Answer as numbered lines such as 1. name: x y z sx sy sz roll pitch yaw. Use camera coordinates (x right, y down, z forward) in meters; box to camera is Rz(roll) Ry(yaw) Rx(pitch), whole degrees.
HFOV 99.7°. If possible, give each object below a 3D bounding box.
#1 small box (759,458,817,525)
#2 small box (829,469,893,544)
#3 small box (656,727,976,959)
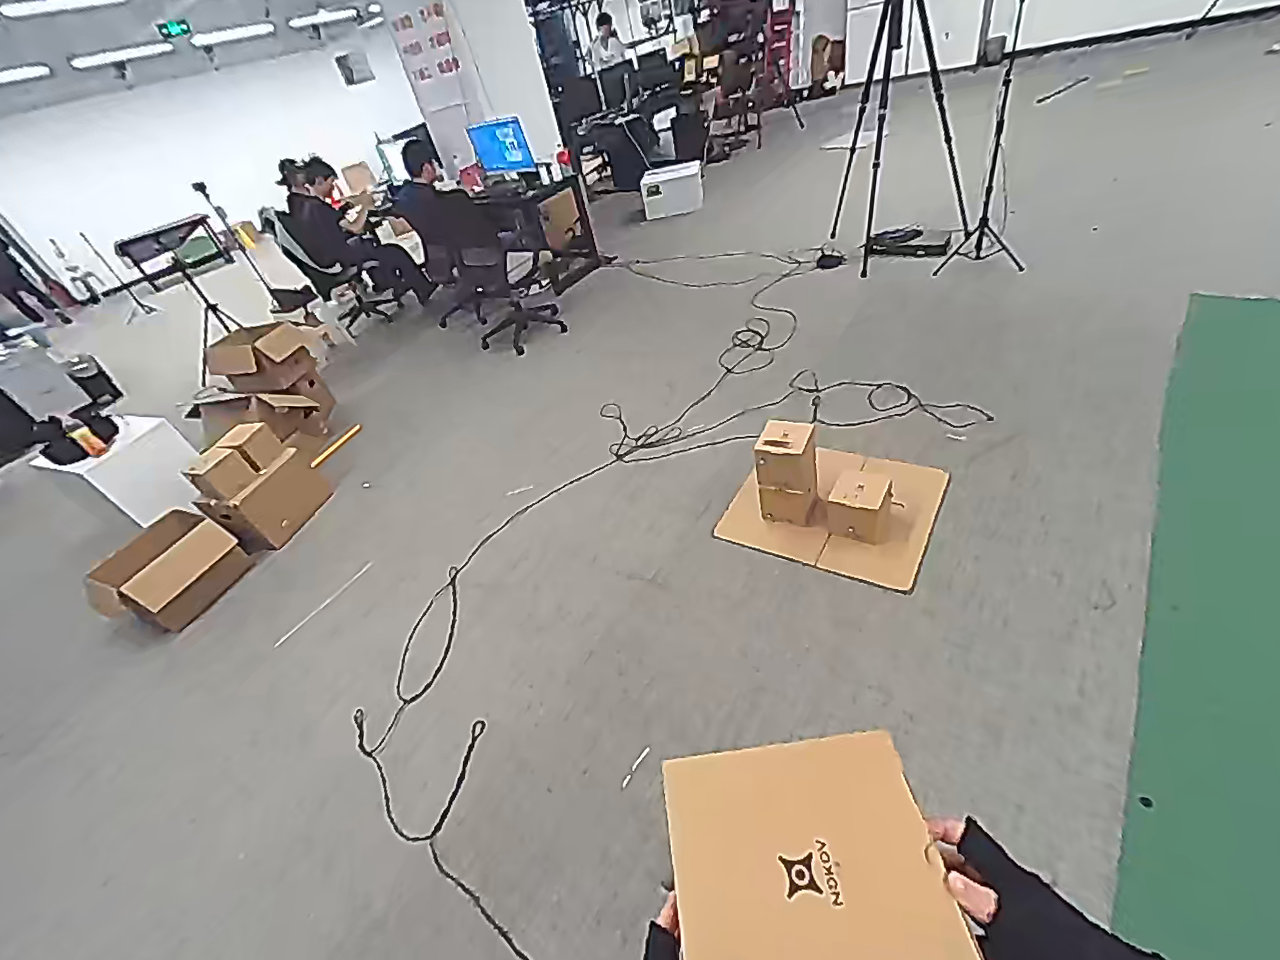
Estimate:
1. small box: 0.555 0.043 2.007 0.168 0.176 0.179 11 46 30
2. small box: 0.765 0.090 1.878 0.168 0.176 0.179 13 48 34
3. small box: 0.114 0.312 0.405 0.179 0.176 0.168 -8 42 1
